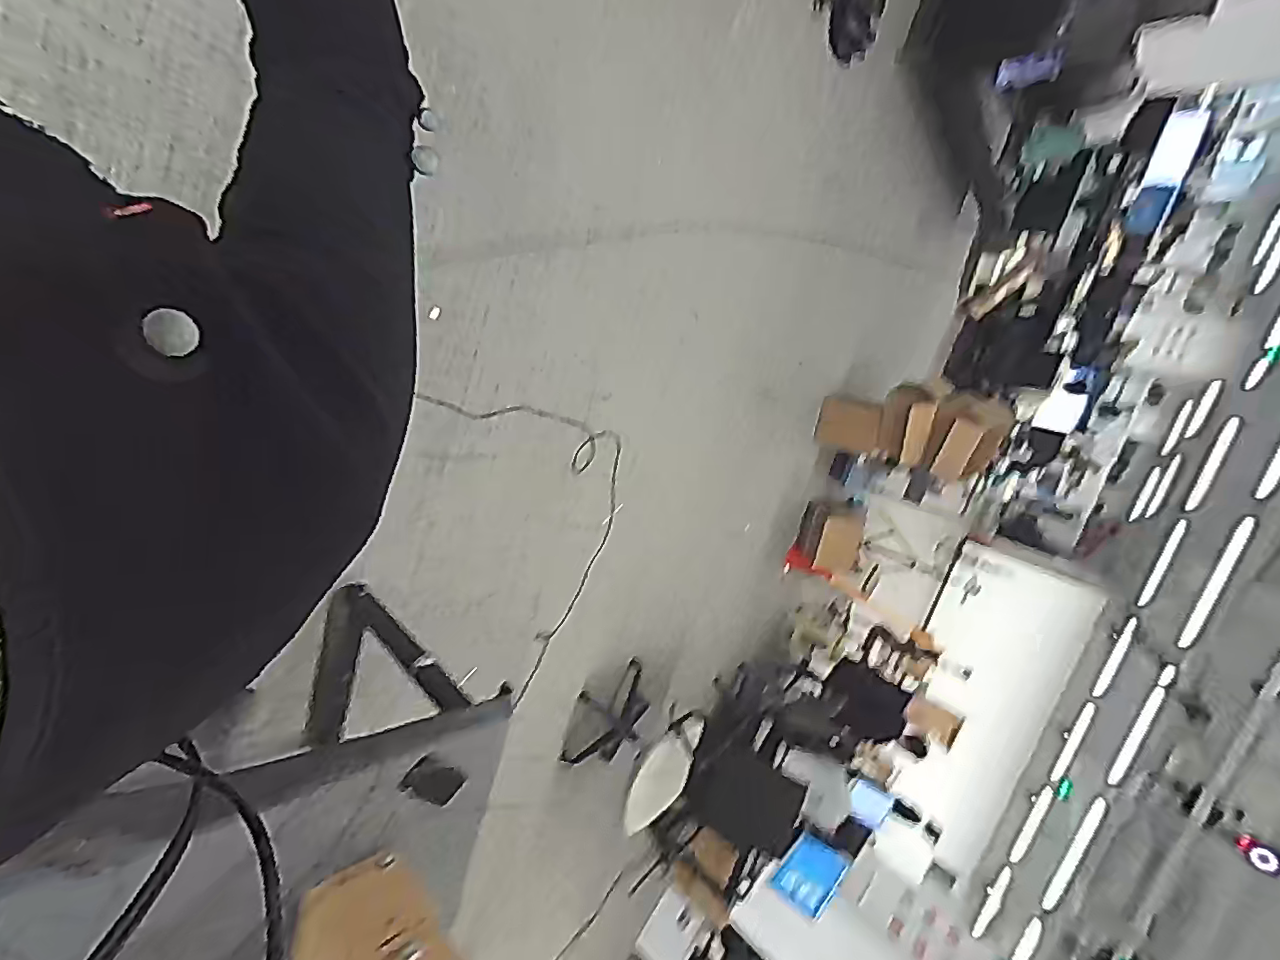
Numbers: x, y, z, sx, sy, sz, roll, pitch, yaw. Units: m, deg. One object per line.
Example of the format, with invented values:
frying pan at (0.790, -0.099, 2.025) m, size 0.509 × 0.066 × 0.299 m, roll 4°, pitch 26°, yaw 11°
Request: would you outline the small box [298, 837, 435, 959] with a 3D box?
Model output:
small box at (-0.511, 0.812, 1.006) m, size 0.168 × 0.176 × 0.179 m, roll -1°, pitch 112°, yaw -51°
